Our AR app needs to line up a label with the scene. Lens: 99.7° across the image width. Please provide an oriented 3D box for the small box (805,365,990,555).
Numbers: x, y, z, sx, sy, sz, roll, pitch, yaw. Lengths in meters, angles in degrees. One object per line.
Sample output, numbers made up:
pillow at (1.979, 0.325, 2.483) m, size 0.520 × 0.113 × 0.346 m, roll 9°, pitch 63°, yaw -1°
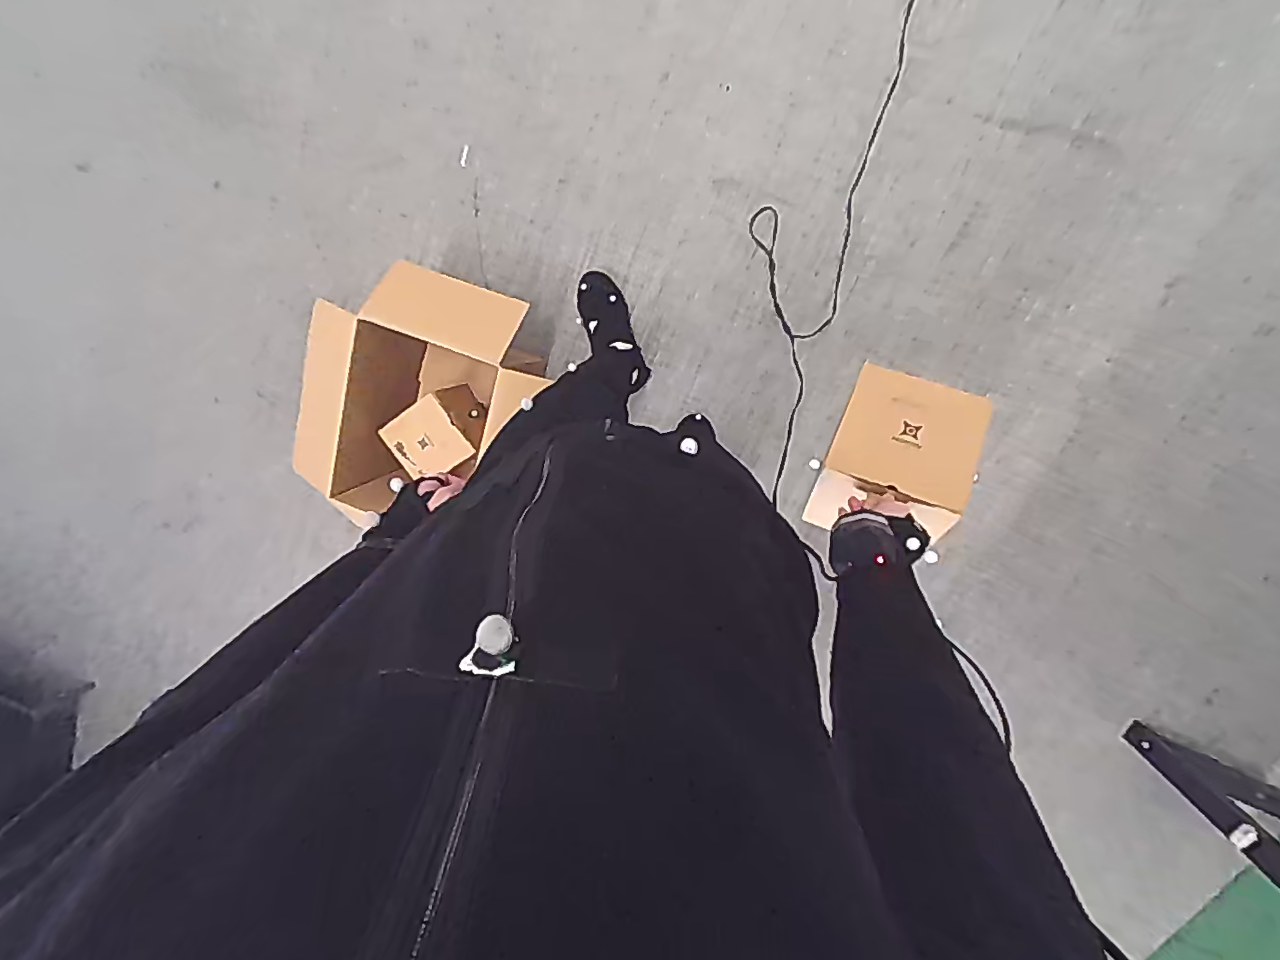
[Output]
small box at (0.340, -0.020, 0.745) m, size 0.168 × 0.176 × 0.179 m, roll 22°, pitch 66°, yaw 15°
